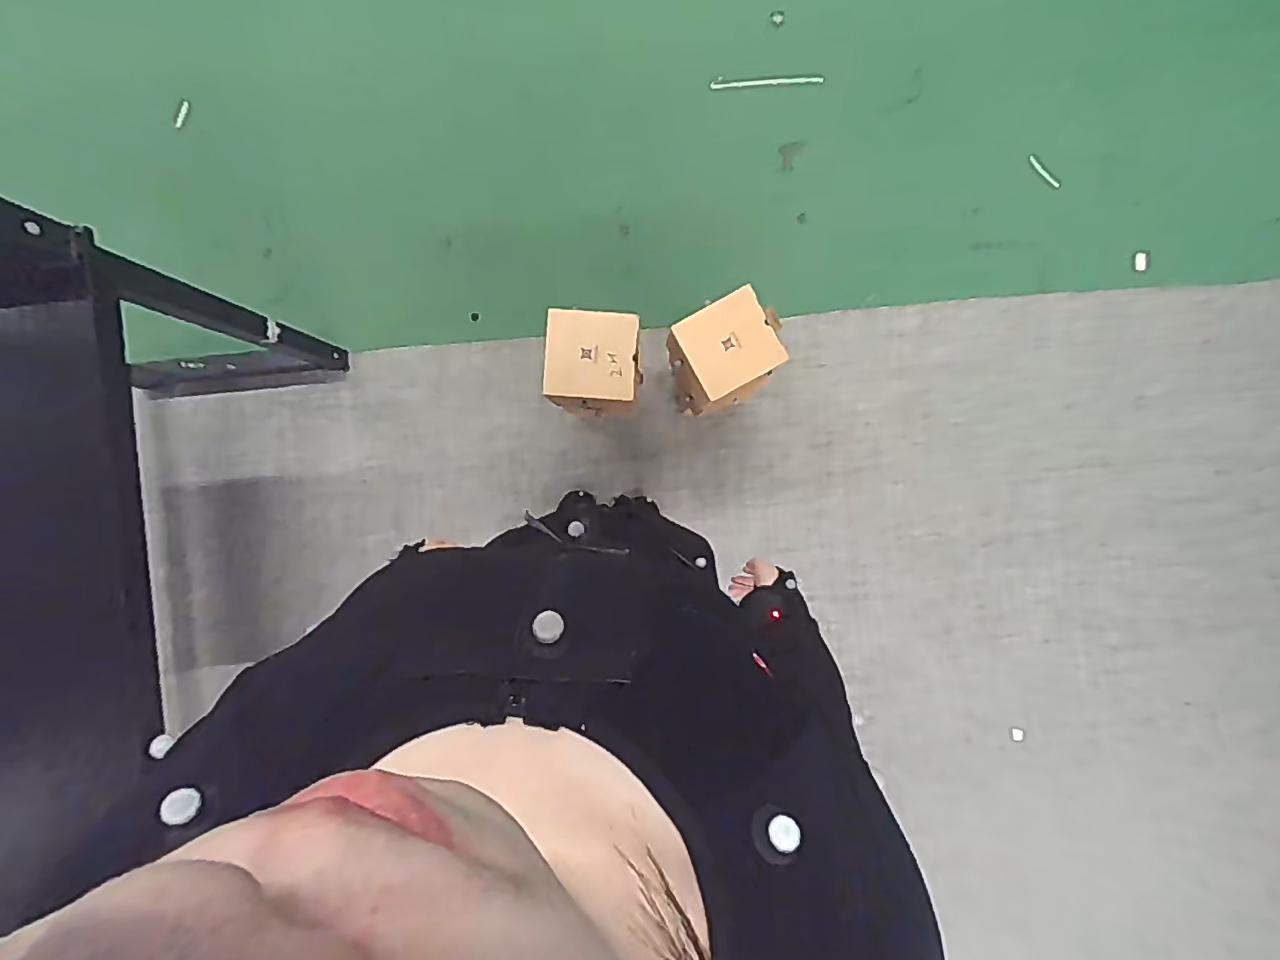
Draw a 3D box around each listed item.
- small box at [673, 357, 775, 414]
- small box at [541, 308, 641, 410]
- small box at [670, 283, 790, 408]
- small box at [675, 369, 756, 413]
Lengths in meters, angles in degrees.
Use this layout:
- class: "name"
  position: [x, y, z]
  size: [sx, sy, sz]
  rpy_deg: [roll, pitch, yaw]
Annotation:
- class: "small box"
  position: [0.184, -0.262, 1.257]
  size: [0.179, 0.176, 0.168]
  rpy_deg: [-25, 93, -1]
- class: "small box"
  position: [-0.092, -0.235, 1.086]
  size: [0.179, 0.176, 0.168]
  rpy_deg: [4, 91, 0]
- class: "small box"
  position: [0.170, -0.260, 1.093]
  size: [0.179, 0.176, 0.168]
  rpy_deg: [-30, 93, -1]
- class: "small box"
  position: [0.188, -0.277, 1.418]
  size: [0.179, 0.176, 0.168]
  rpy_deg: [-12, 92, -1]
